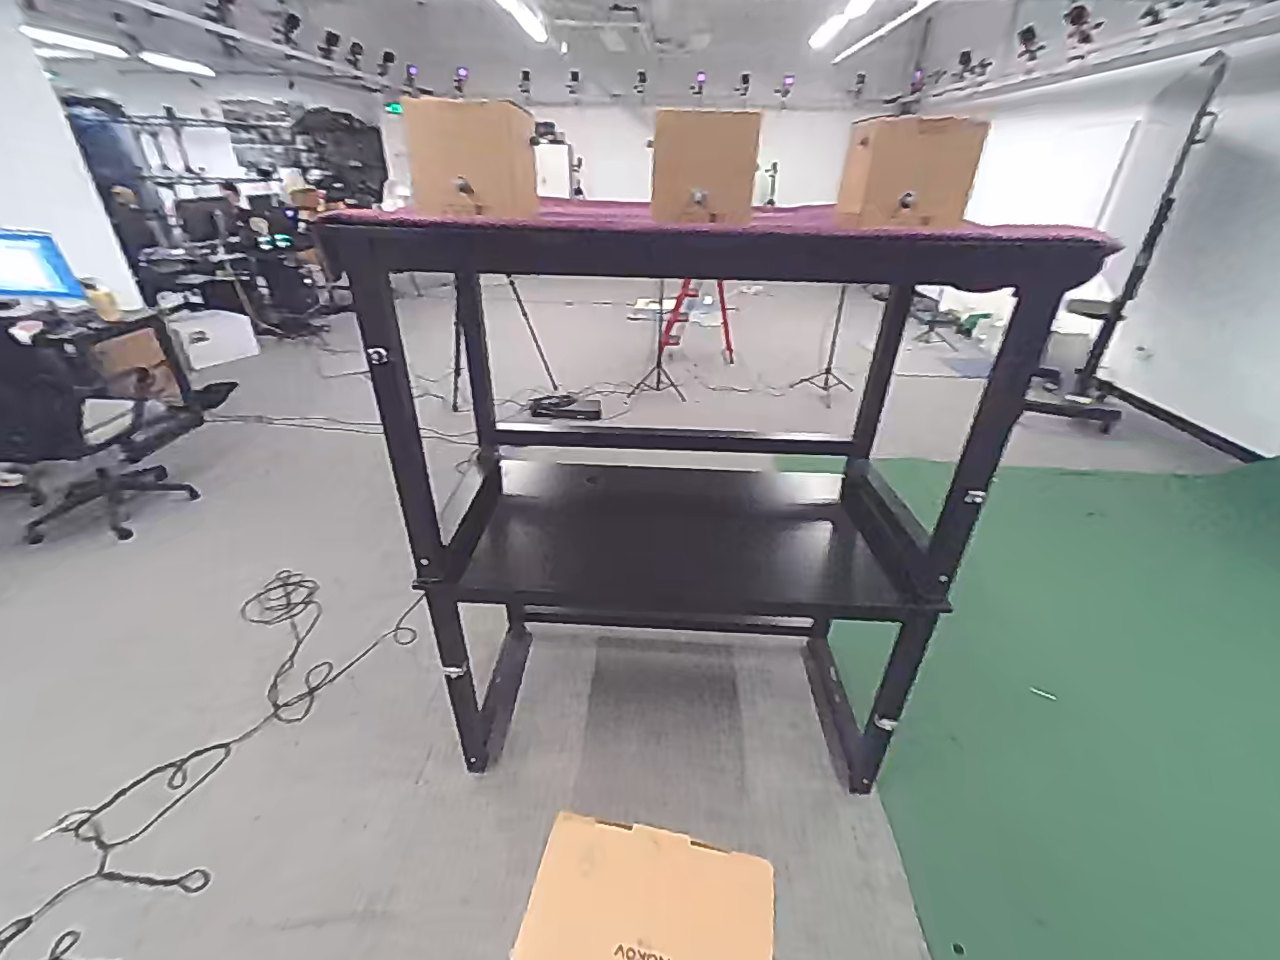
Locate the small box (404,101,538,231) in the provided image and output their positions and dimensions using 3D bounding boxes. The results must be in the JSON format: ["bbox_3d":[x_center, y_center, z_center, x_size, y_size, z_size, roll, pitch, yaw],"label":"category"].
[{"bbox_3d":[-0.269,-0.520,0.906,0.168,0.176,0.179,2,29,1],"label":"small box"}]

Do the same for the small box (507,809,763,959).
[{"bbox_3d":[-0.006,0.385,0.397,0.168,0.176,0.179,6,39,11],"label":"small box"}]

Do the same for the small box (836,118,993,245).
[{"bbox_3d":[0.443,-0.502,0.909,0.168,0.176,0.179,3,32,3],"label":"small box"}]

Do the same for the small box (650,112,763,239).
[{"bbox_3d":[0.104,-0.512,0.913,0.168,0.176,0.179,2,32,2],"label":"small box"}]
